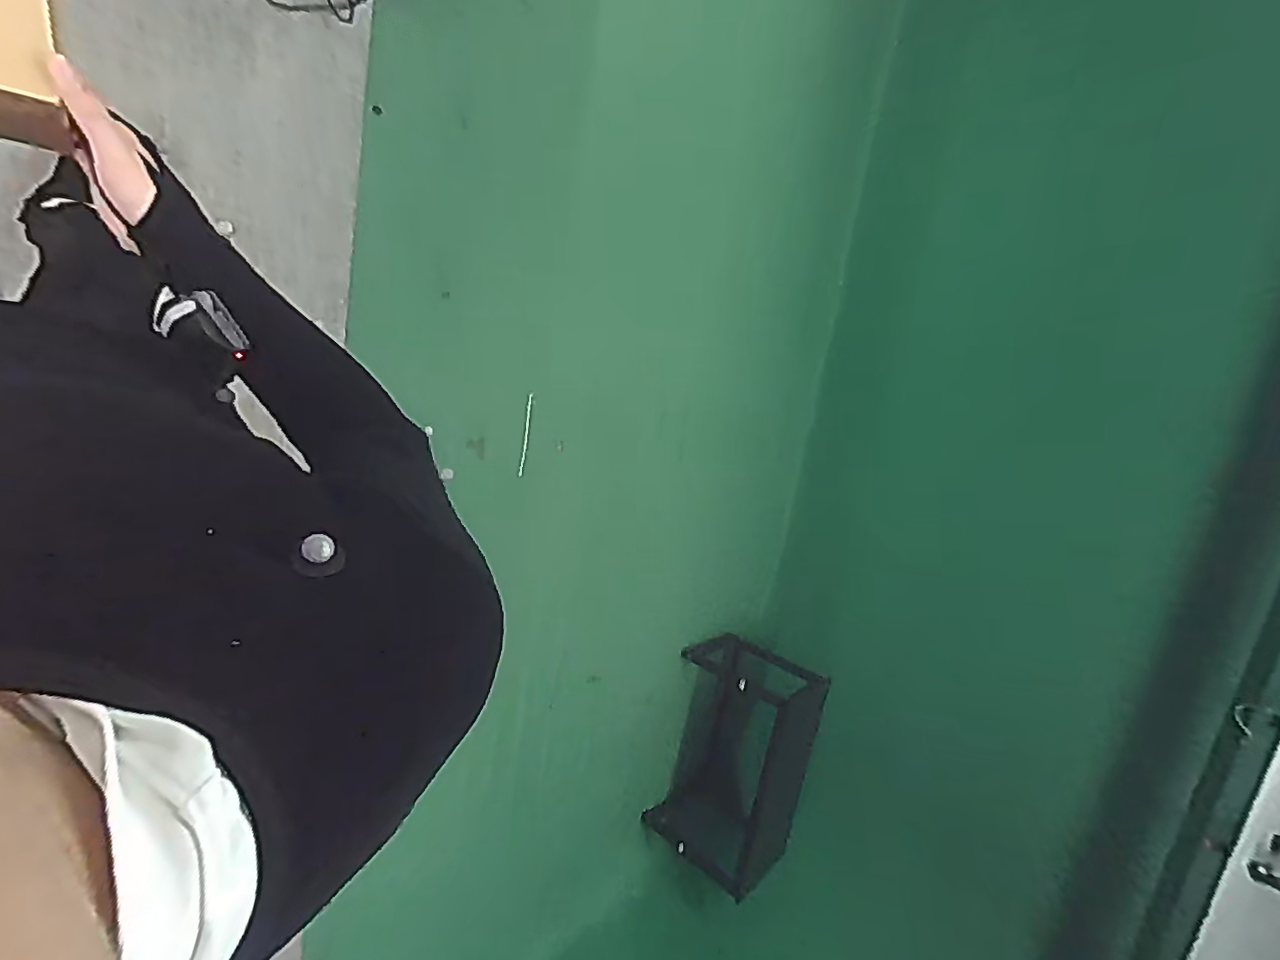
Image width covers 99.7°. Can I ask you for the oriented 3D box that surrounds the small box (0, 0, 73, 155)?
[{"bbox_3d":[-0.519,-0.356,0.371,0.168,0.176,0.179,-6,108,-43],"label":"small box"}]
